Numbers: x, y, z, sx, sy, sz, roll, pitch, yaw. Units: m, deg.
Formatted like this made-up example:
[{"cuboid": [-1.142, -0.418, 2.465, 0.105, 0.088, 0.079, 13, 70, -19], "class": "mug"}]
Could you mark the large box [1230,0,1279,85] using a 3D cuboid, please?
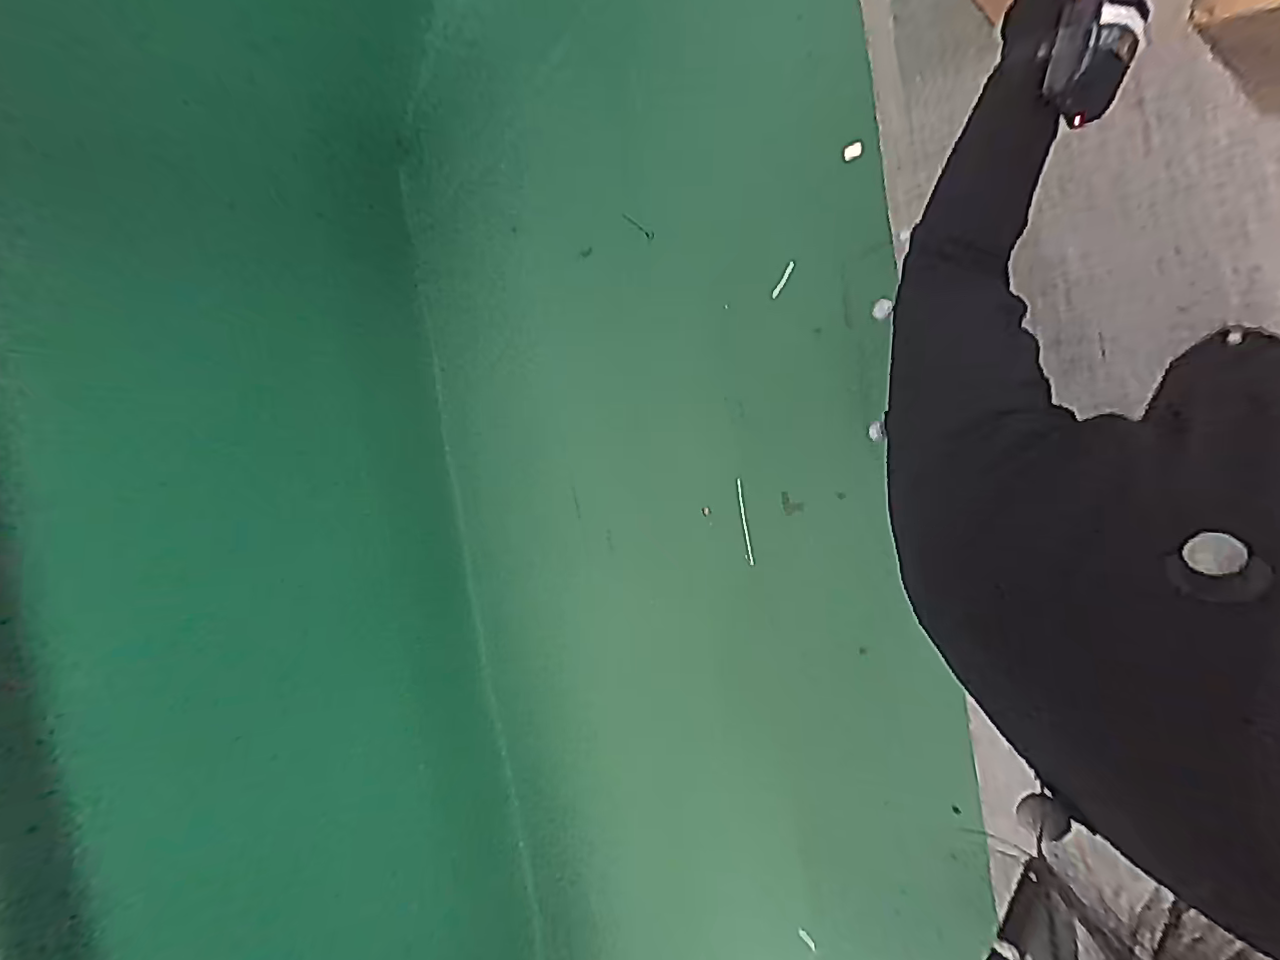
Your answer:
[{"cuboid": [0.623, -0.454, 0.254, 0.408, 0.320, 0.320, 23, 120, 49], "class": "large box"}]
